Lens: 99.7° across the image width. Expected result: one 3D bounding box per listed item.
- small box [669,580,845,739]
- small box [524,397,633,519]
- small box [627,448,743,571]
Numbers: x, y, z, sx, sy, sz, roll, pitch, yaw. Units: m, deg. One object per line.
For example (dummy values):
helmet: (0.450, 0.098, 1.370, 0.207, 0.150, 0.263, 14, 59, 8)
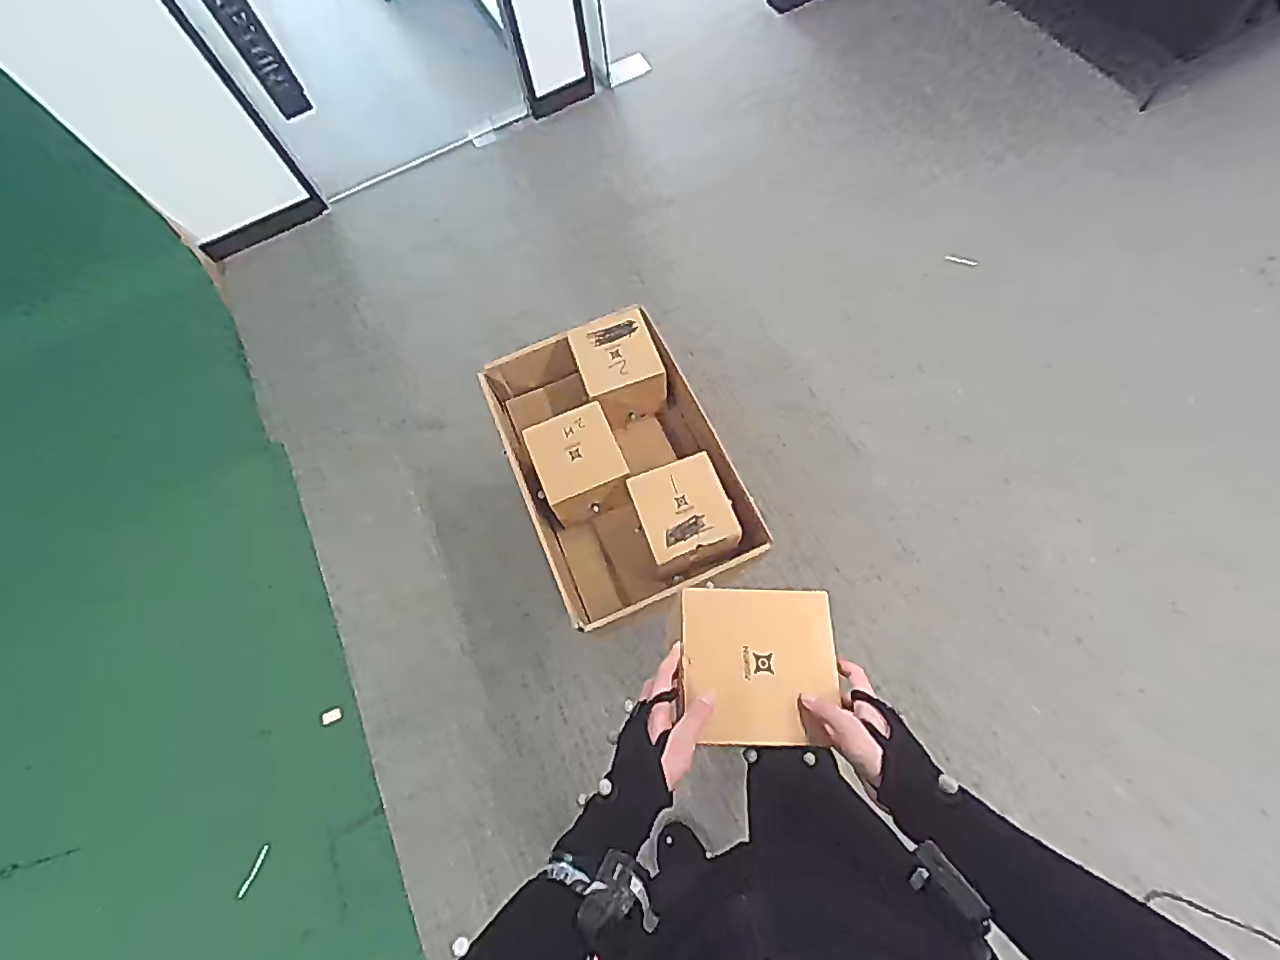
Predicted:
small box: (0.129, 0.224, 0.668, 0.179, 0.176, 0.168, 1, 66, 0)
small box: (-0.116, -0.034, 1.110, 0.168, 0.176, 0.179, -23, 69, -4)
small box: (0.087, 0.067, 1.052, 0.168, 0.176, 0.179, -20, 69, -3)
